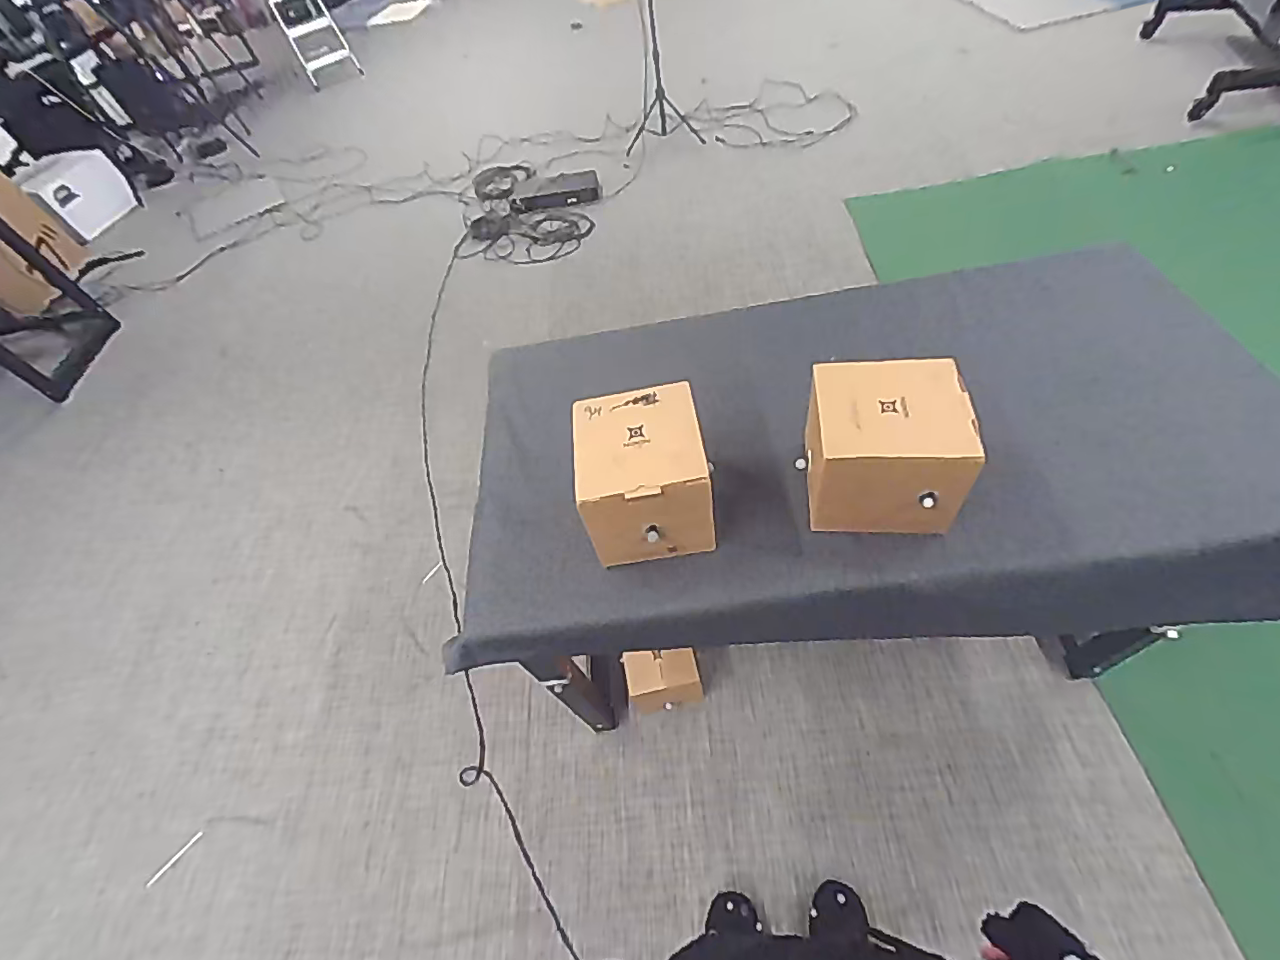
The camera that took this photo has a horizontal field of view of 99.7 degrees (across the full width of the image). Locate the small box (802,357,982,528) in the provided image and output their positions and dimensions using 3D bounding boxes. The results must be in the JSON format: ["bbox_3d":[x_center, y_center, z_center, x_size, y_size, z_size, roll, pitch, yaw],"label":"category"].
[{"bbox_3d":[0.322,-0.045,0.732,0.179,0.176,0.168,0,54,11],"label":"small box"}]

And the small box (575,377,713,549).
[{"bbox_3d":[0.008,-0.015,0.764,0.168,0.176,0.179,-9,54,4],"label":"small box"}]
